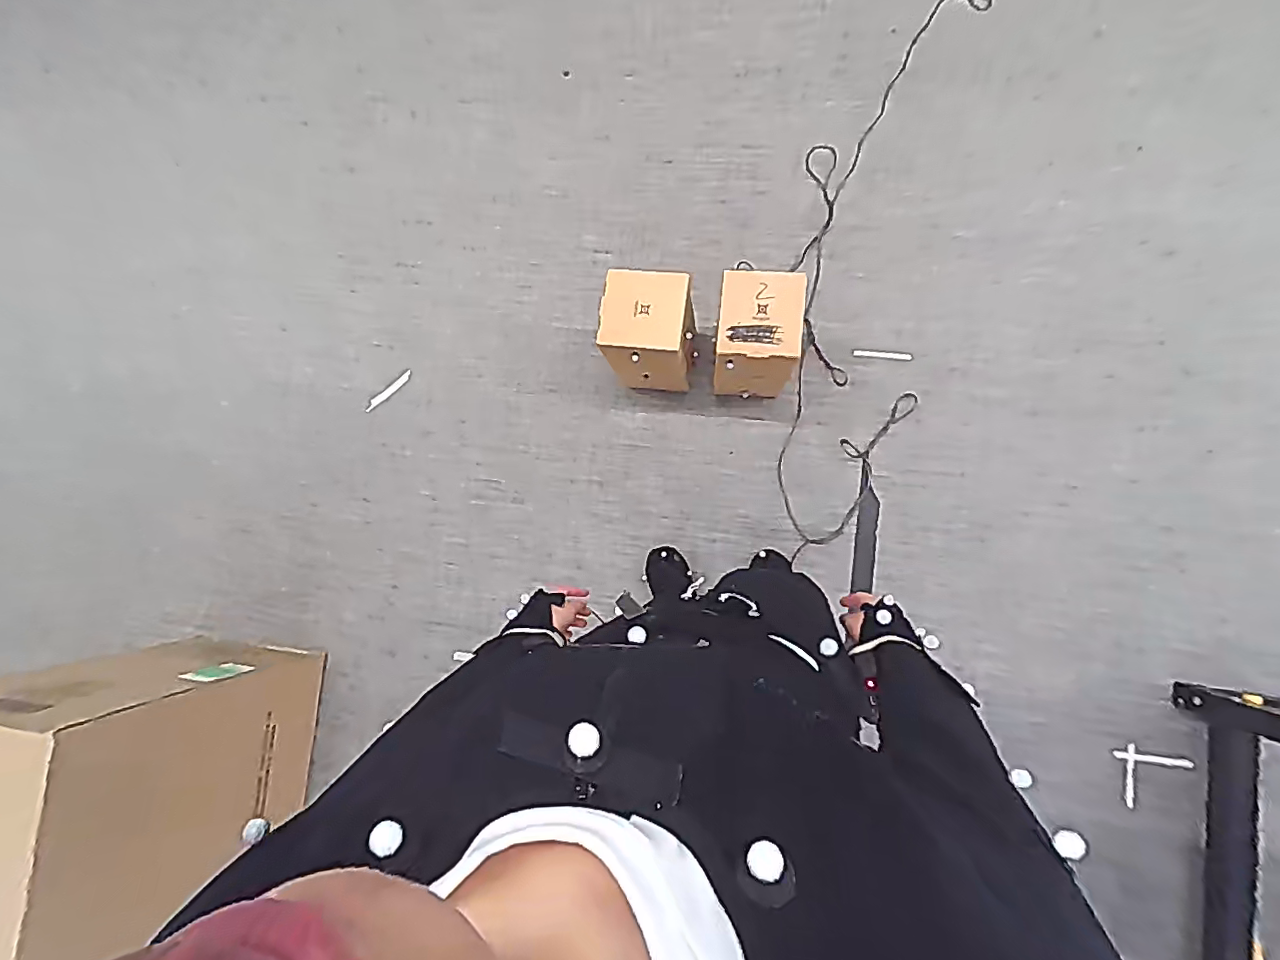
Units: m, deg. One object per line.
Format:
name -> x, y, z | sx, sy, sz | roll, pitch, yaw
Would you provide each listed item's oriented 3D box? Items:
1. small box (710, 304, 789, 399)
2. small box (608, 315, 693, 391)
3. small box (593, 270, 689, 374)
small box -> 0.260, -0.307, 1.314 | 0.168, 0.176, 0.179 | 5, 86, 8
small box -> 0.031, -0.325, 1.346 | 0.179, 0.176, 0.168 | 6, 86, 9
small box -> 0.009, -0.339, 1.186 | 0.179, 0.176, 0.168 | 7, 86, 10
